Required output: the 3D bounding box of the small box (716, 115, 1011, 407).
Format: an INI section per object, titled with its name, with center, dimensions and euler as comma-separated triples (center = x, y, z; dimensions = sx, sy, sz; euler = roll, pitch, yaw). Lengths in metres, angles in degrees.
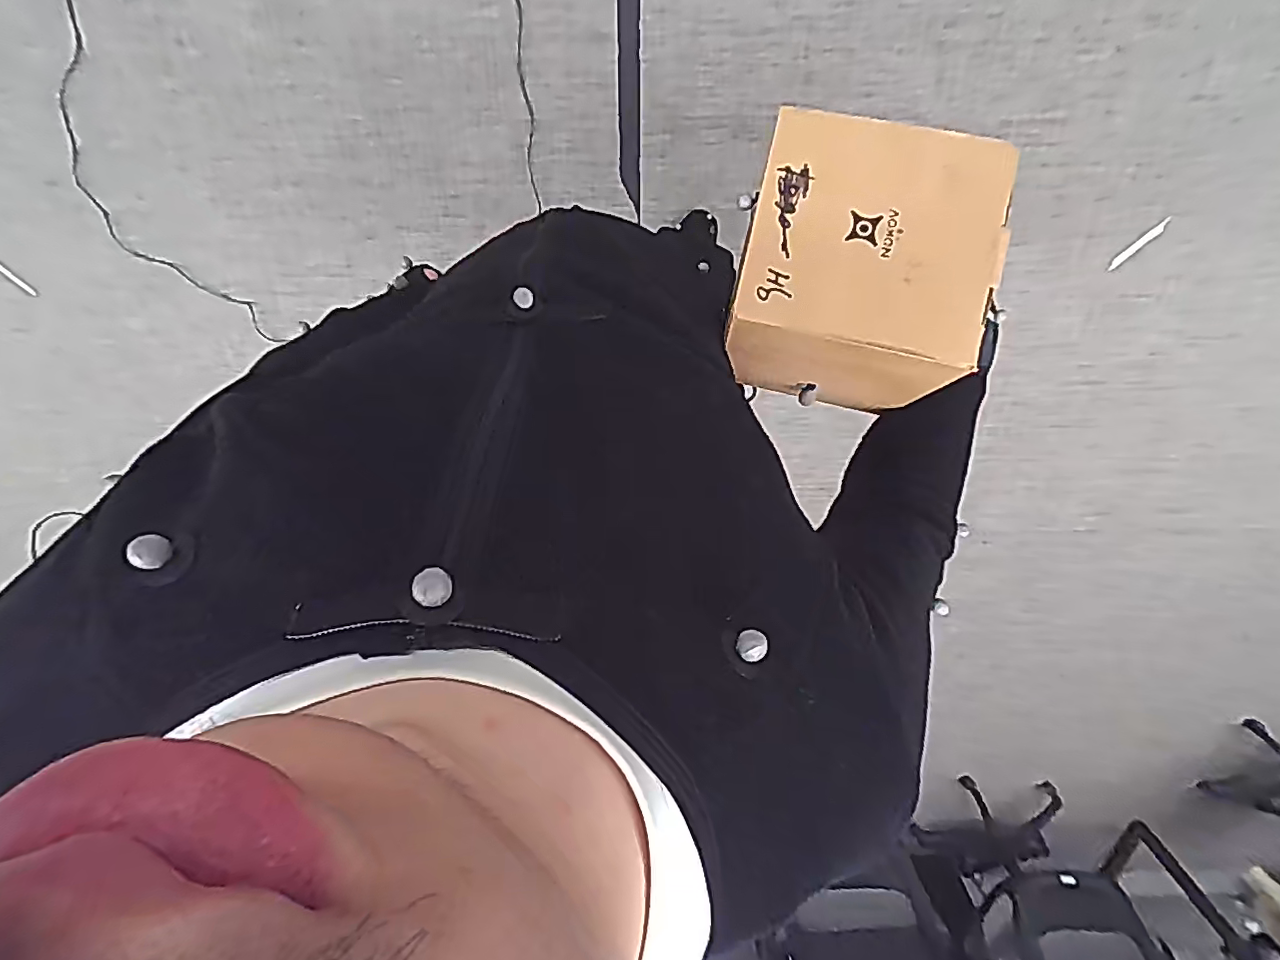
[small box]
center = 0.176, -0.172, 0.481
dimensions = 0.179, 0.176, 0.168
euler = 14, 85, 4
